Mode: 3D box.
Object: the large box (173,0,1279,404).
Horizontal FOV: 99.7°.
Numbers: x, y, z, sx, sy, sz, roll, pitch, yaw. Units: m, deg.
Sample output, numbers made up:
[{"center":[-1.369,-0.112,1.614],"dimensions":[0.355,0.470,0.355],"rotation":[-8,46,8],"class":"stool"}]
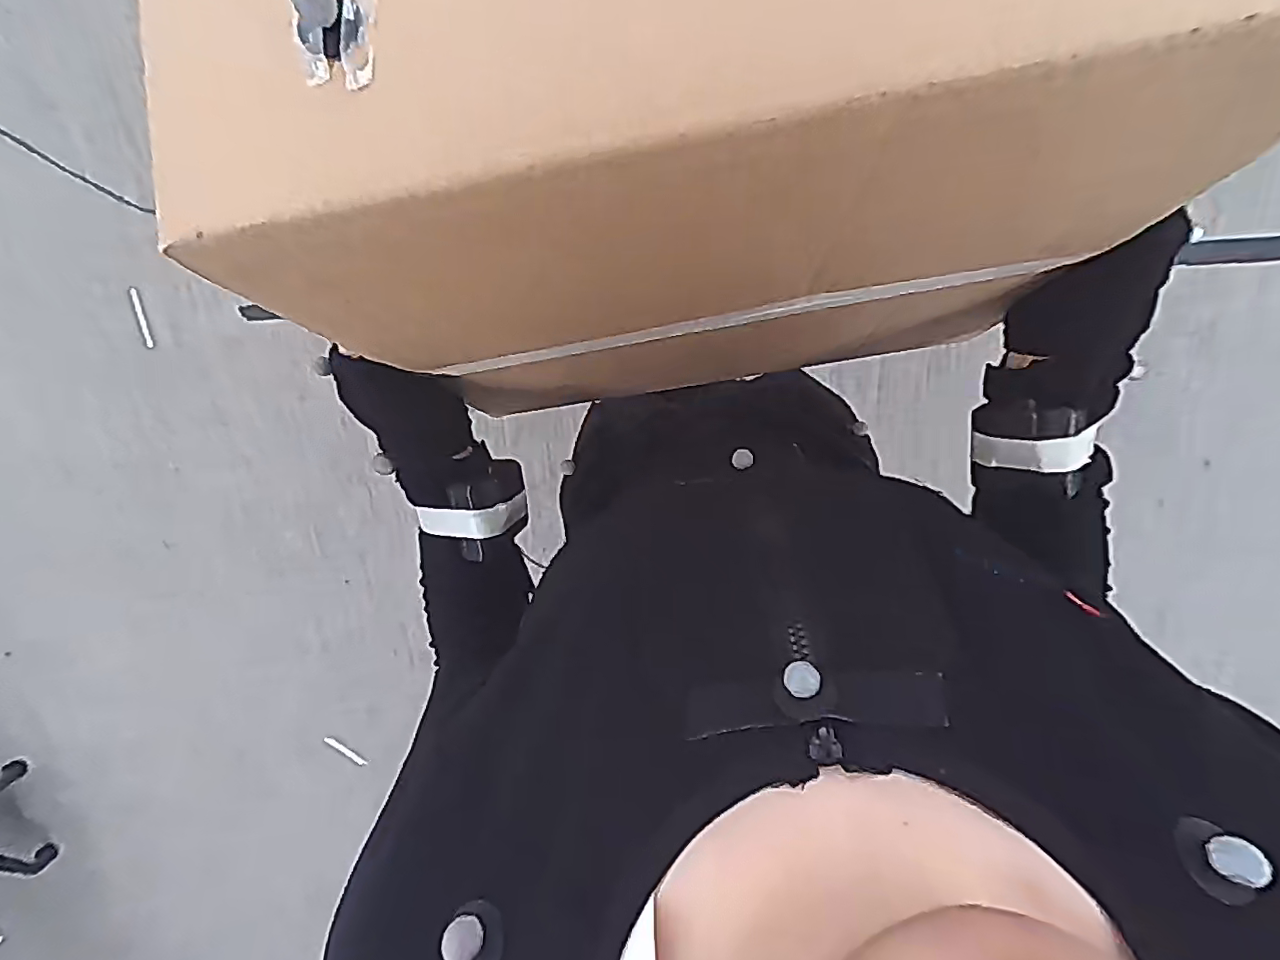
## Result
[{"center":[0.031,-0.257,0.329],"dimensions":[0.408,0.320,0.320],"rotation":[-9,86,4],"class":"large box"}]
